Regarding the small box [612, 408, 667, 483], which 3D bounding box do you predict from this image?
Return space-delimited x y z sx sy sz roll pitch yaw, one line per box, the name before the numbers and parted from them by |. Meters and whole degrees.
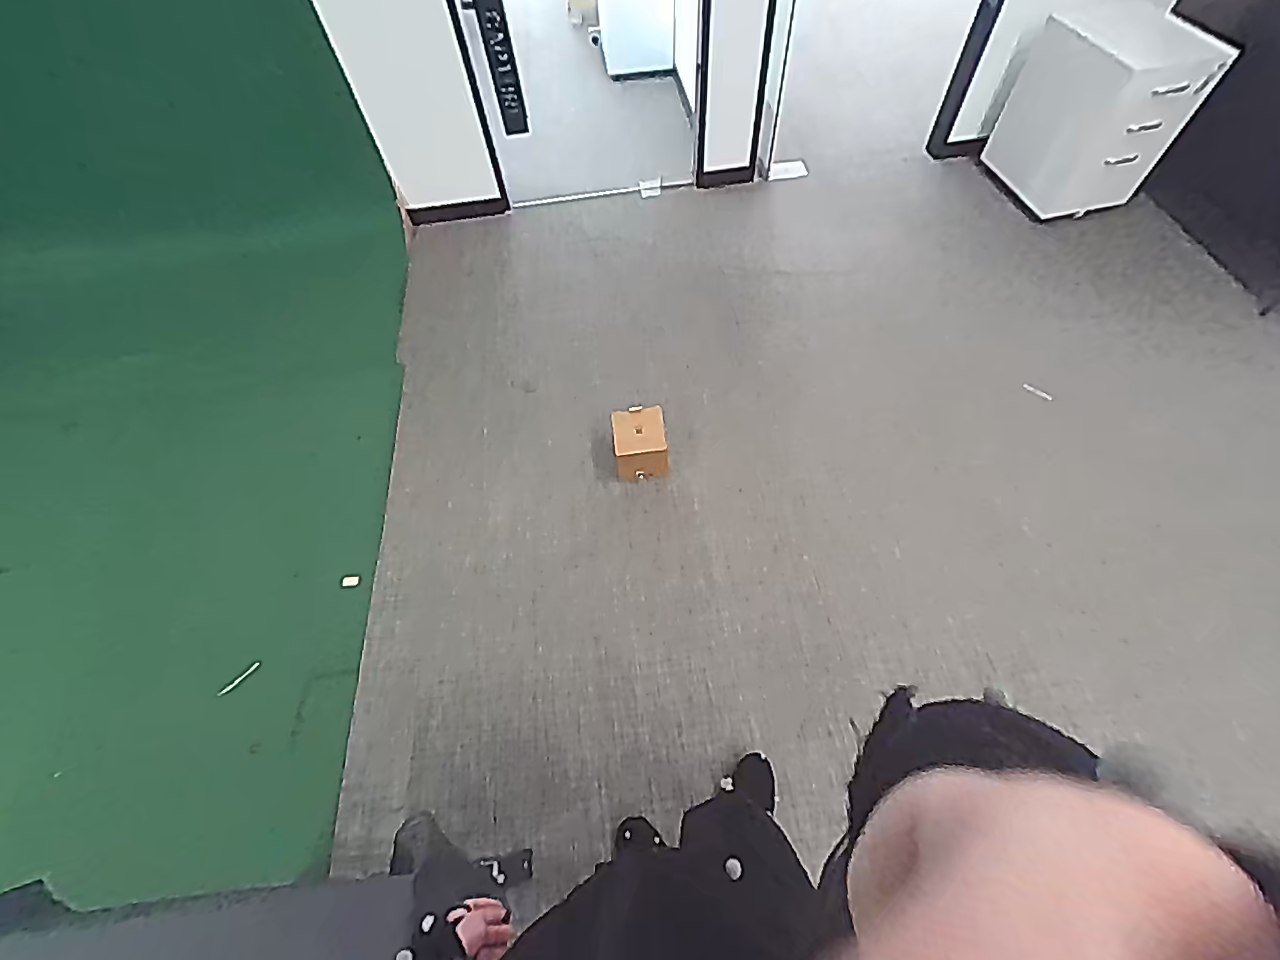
small box | -0.001 -0.110 1.766 0.168 0.176 0.179 -7 58 2
